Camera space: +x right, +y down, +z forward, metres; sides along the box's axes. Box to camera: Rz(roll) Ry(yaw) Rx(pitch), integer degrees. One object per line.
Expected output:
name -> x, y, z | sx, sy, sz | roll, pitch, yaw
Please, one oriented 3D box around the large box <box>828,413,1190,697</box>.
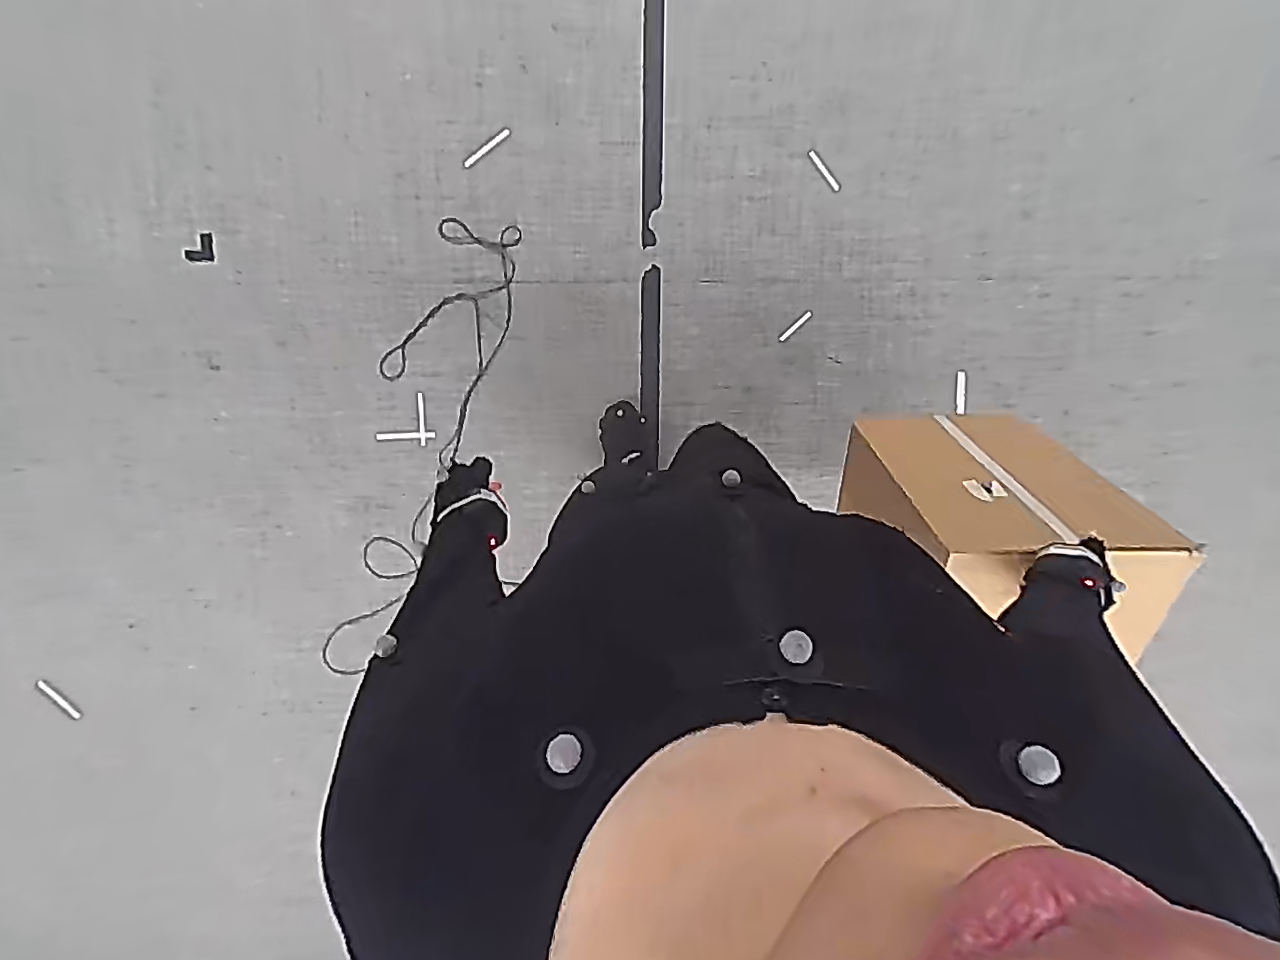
large box -> 0.557, 0.111, 0.940 | 0.320, 0.408, 0.320 | -1, 123, 2
